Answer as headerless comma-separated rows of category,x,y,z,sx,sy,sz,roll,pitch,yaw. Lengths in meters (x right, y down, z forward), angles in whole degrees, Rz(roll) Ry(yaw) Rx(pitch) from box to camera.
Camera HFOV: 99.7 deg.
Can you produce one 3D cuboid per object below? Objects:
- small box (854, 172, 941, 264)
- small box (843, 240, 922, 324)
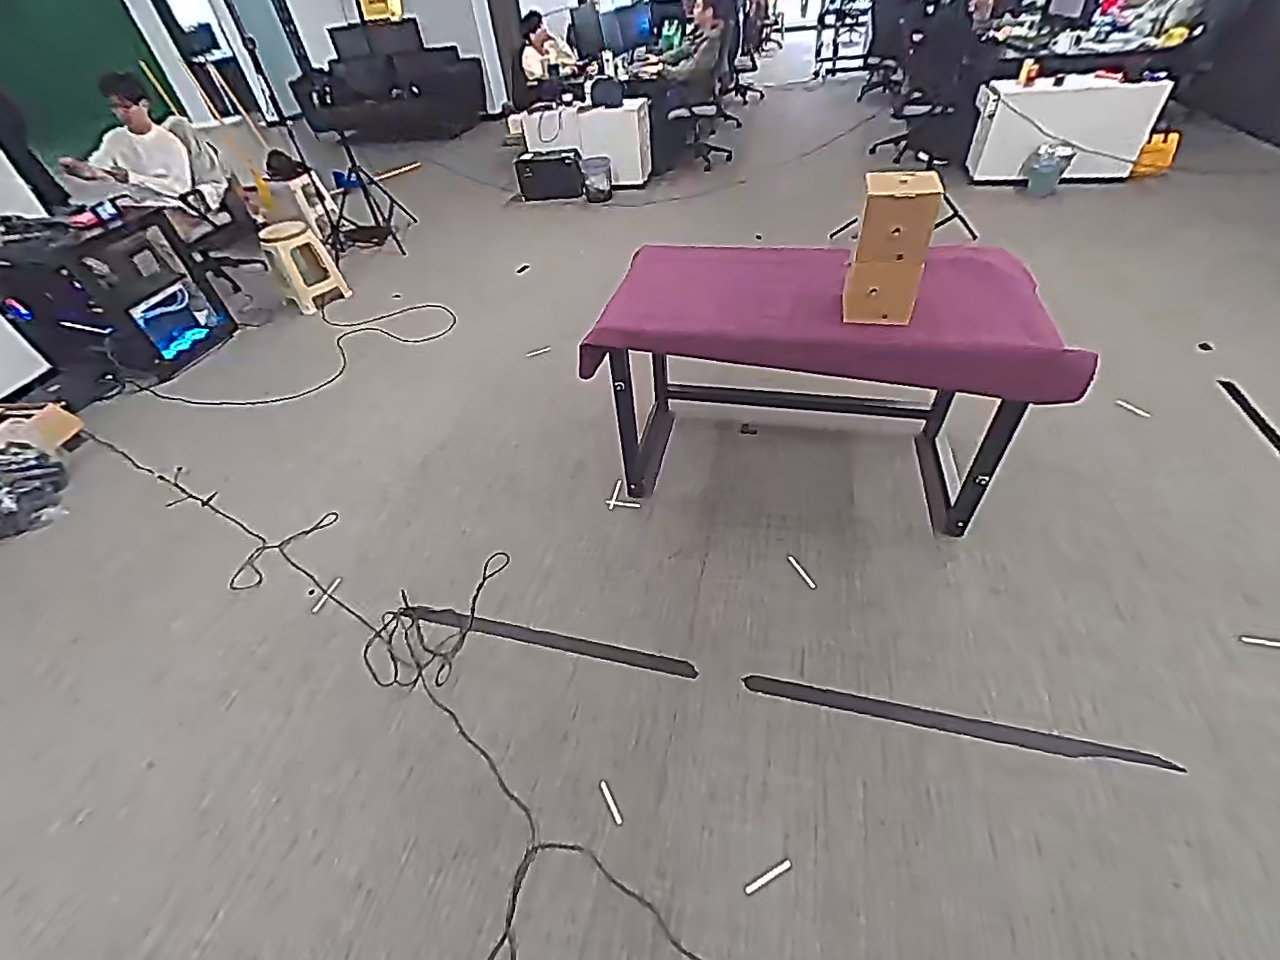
small box,0.645,-0.661,1.370,0.168,0.176,0.179,7,46,14
small box,0.657,-0.541,1.480,0.168,0.176,0.179,7,45,14
